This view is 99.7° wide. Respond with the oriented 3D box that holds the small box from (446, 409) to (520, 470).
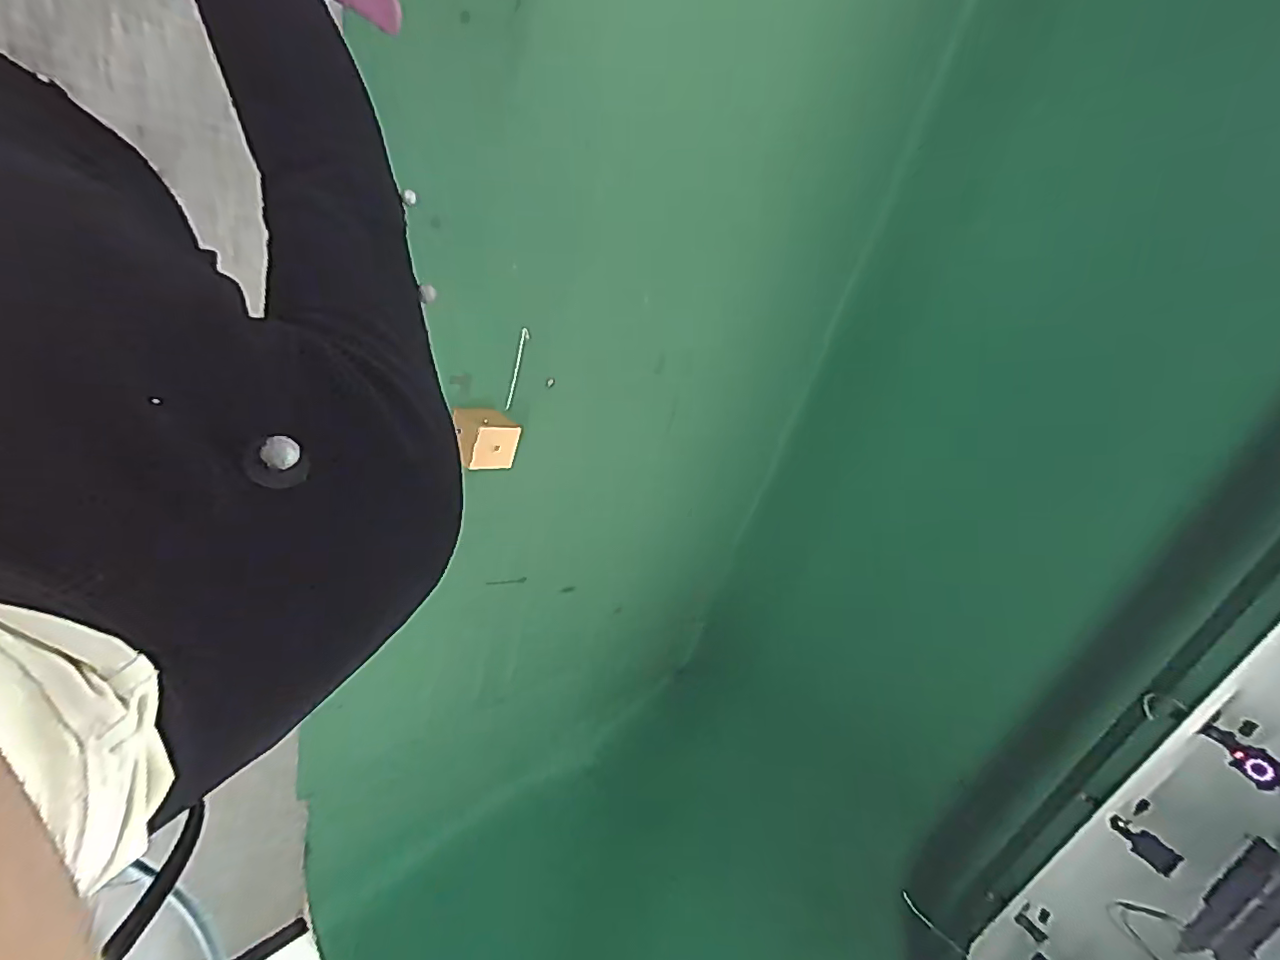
[{"bbox_3d":[-0.569,-0.149,1.951,0.179,0.176,0.168,-5,122,-49],"label":"small box"}]
